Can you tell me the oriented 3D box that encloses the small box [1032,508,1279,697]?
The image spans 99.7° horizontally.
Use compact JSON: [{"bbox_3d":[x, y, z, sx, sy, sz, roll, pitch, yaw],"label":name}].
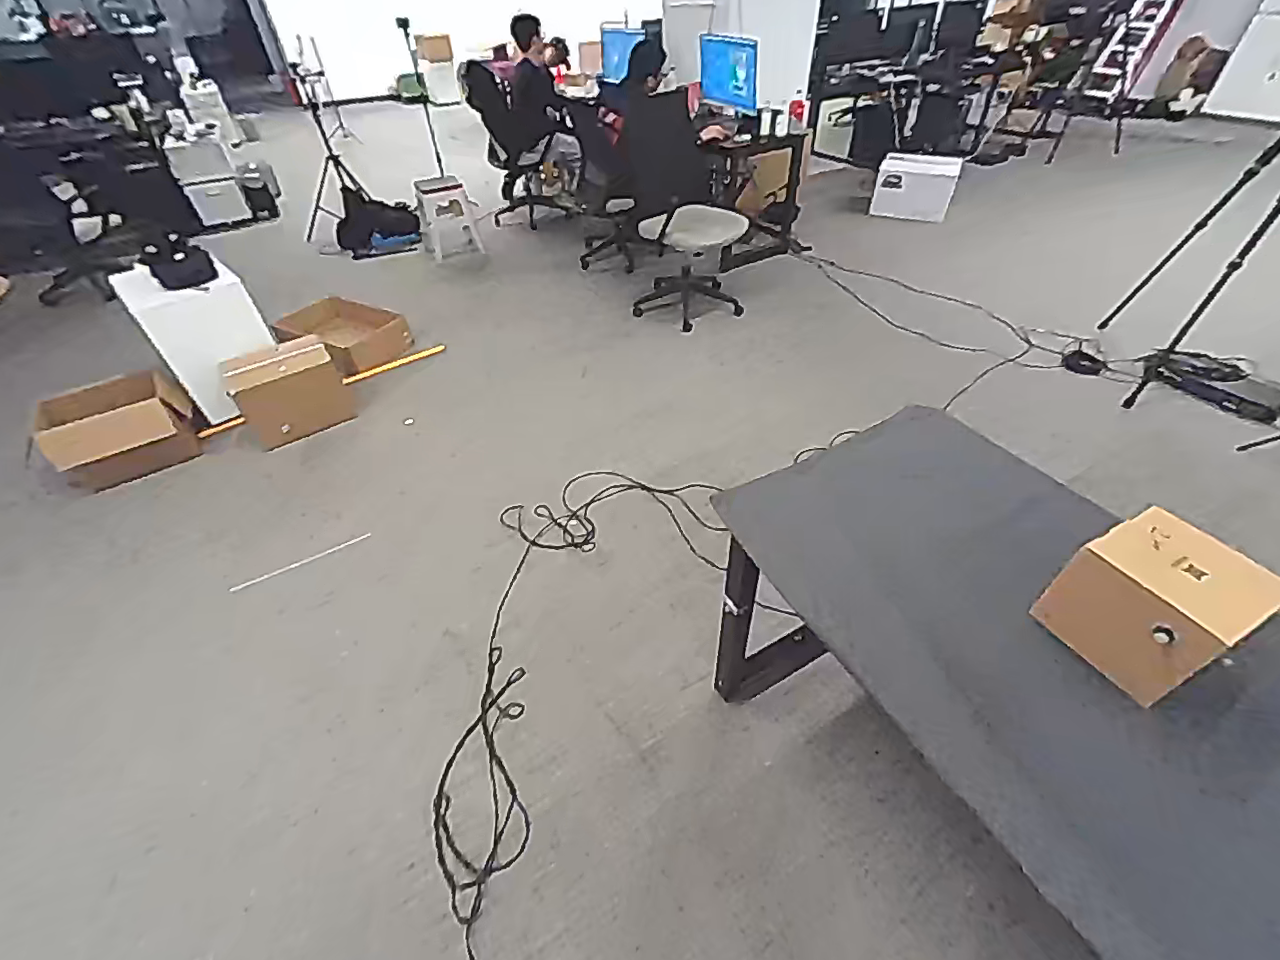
[{"bbox_3d":[0.715,0.177,0.759,0.168,0.176,0.179,-20,46,-18],"label":"small box"}]
